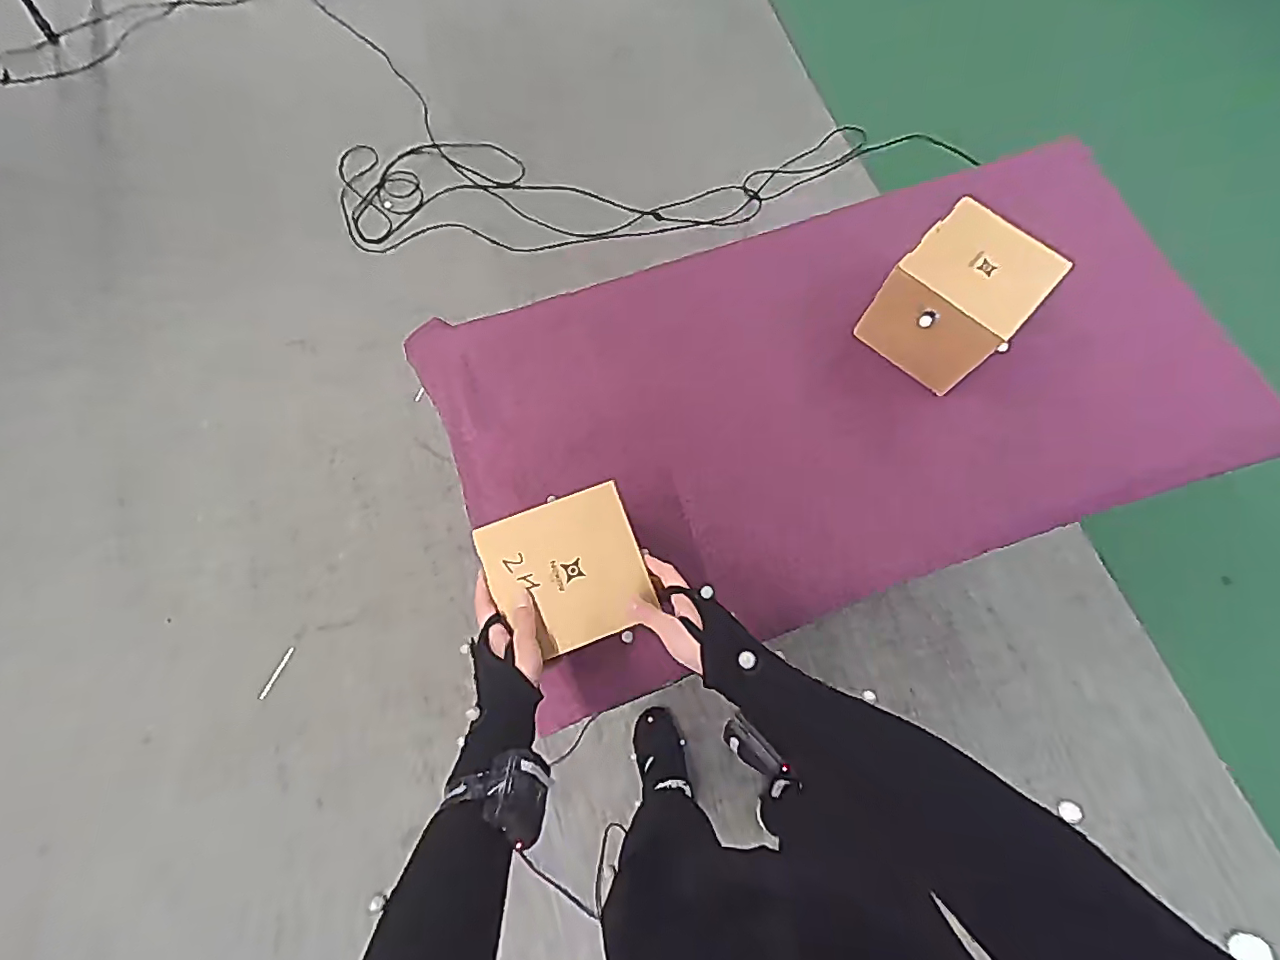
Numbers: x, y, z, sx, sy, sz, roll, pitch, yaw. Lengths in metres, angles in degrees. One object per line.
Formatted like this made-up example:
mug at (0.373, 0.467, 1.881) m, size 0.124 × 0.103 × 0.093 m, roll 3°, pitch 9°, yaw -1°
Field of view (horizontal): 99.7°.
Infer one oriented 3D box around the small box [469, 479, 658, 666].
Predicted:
small box at (-0.089, 0.116, 0.683) m, size 0.179 × 0.176 × 0.168 m, roll -20°, pitch 78°, yaw -5°

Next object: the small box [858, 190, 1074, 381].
small box at (0.462, -0.272, 0.797) m, size 0.179 × 0.176 × 0.168 m, roll 42°, pitch 79°, yaw 13°
